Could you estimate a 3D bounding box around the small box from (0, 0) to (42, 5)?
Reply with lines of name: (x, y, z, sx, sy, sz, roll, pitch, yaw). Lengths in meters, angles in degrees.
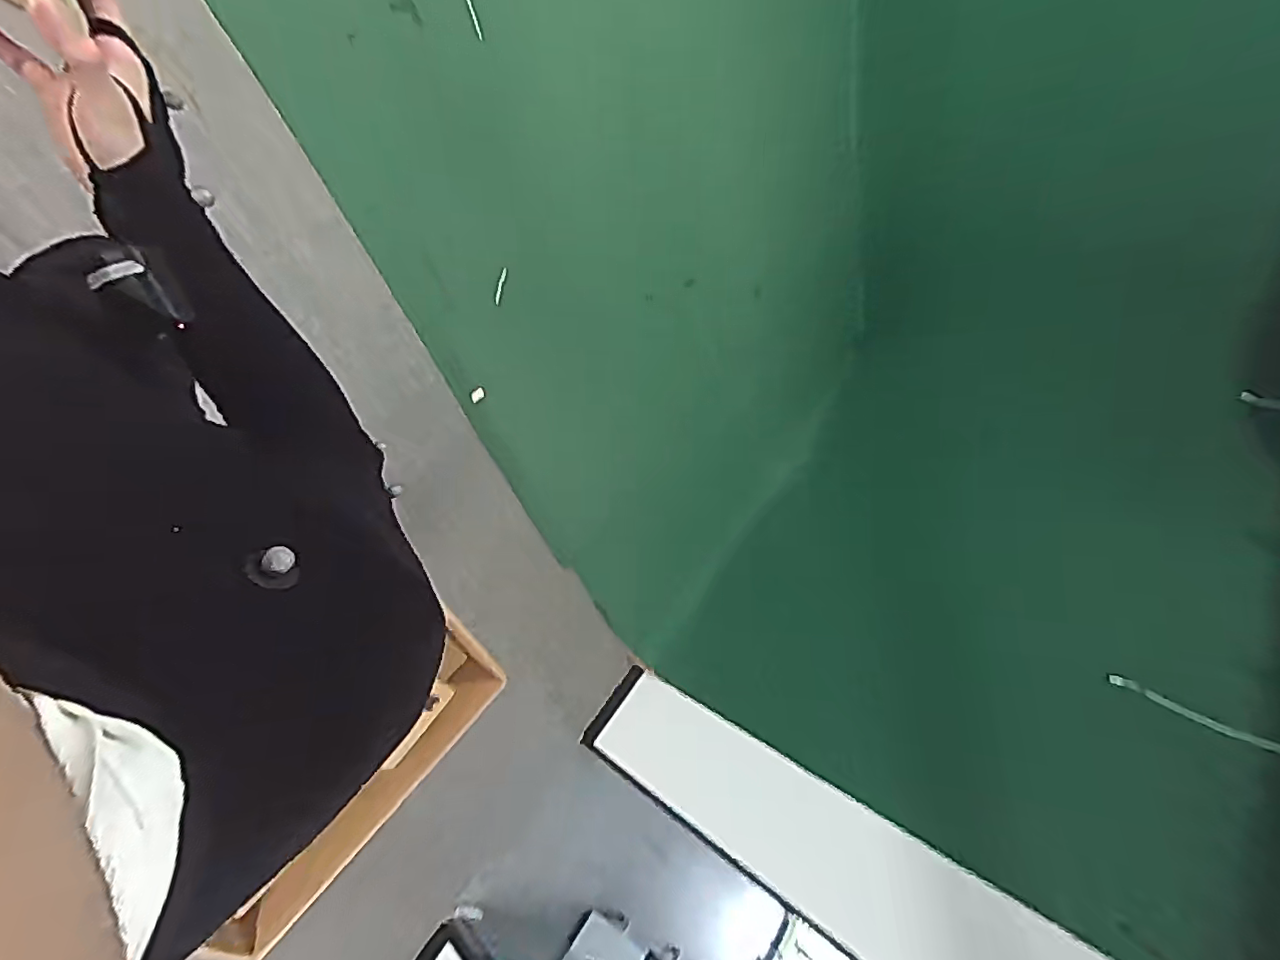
small box: (-0.433, -0.390, 0.279, 0.179, 0.176, 0.168, 5, 115, -50)
